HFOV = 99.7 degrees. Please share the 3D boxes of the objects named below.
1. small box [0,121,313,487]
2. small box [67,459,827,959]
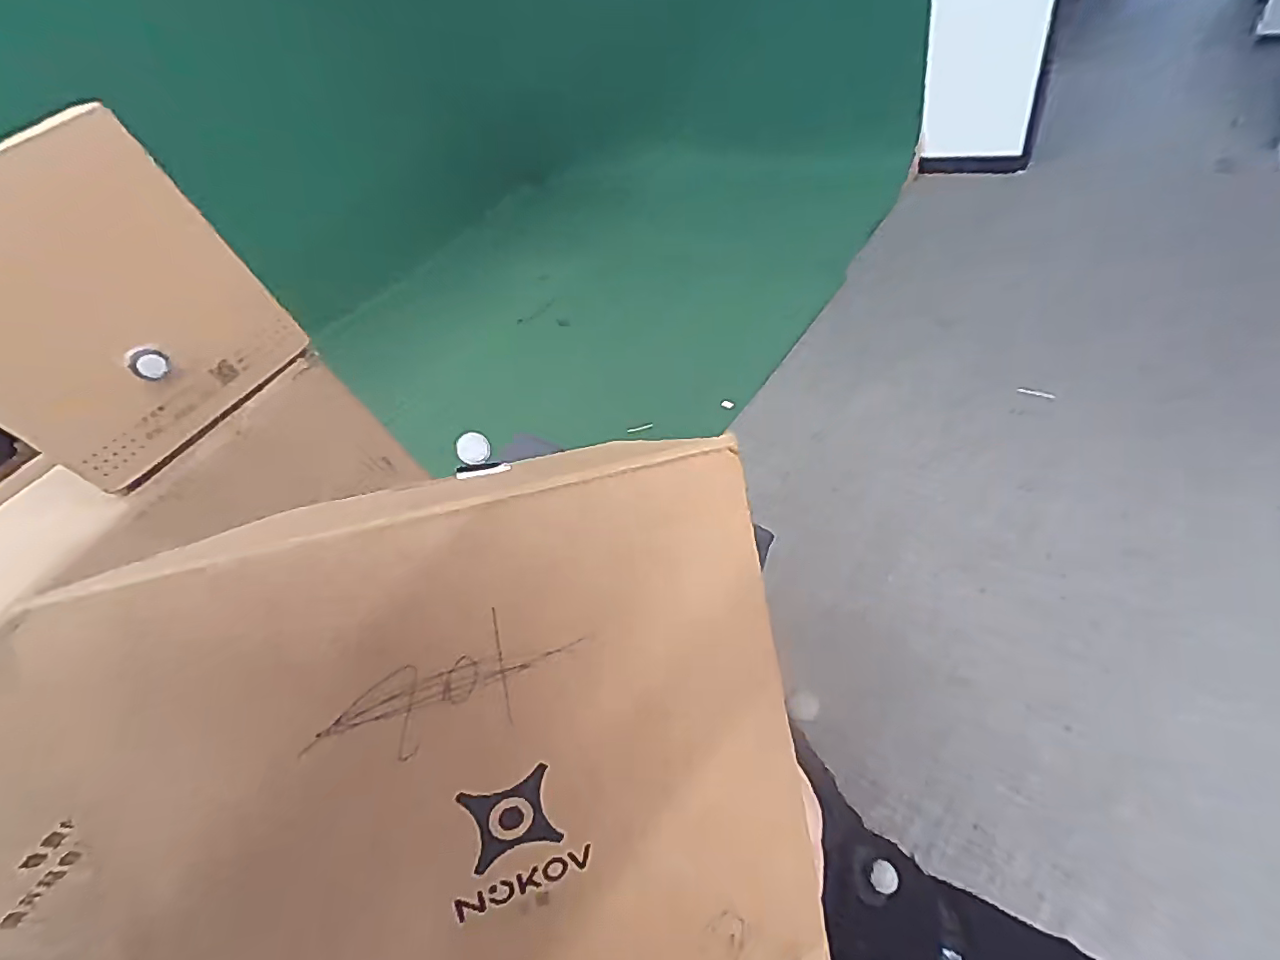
[{"bbox_3d":[-0.383,-0.120,0.379,0.179,0.176,0.168,21,61,33],"label":"small box"},{"bbox_3d":[-0.054,0.092,0.223,0.168,0.179,0.176,-14,6,-16],"label":"small box"}]
